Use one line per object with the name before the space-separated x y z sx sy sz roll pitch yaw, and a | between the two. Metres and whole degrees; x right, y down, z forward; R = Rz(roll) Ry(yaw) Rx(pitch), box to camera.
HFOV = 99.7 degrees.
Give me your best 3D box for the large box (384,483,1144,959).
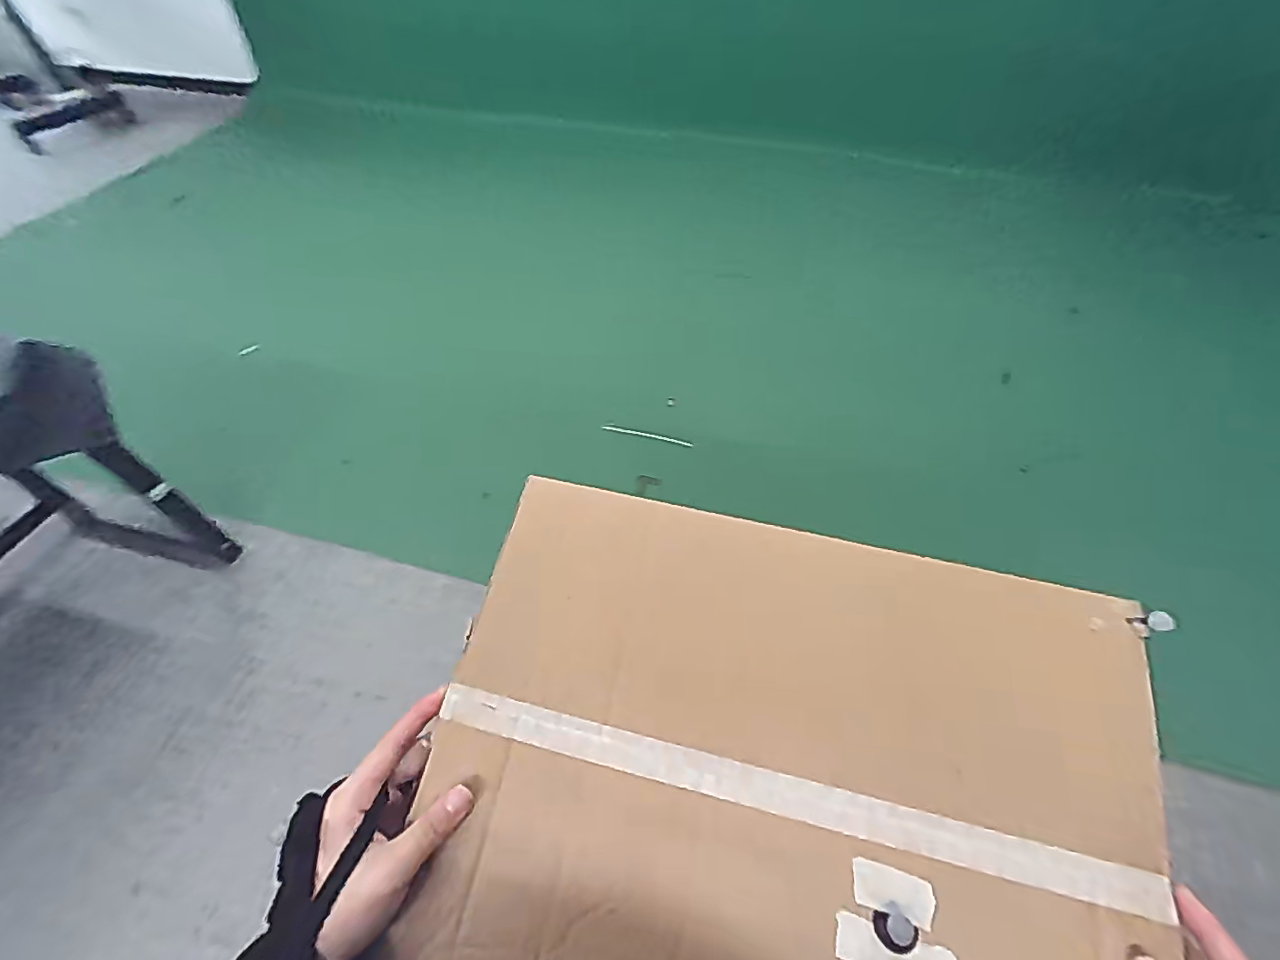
large box | 0.085 0.230 0.463 0.408 0.320 0.320 11 69 7
